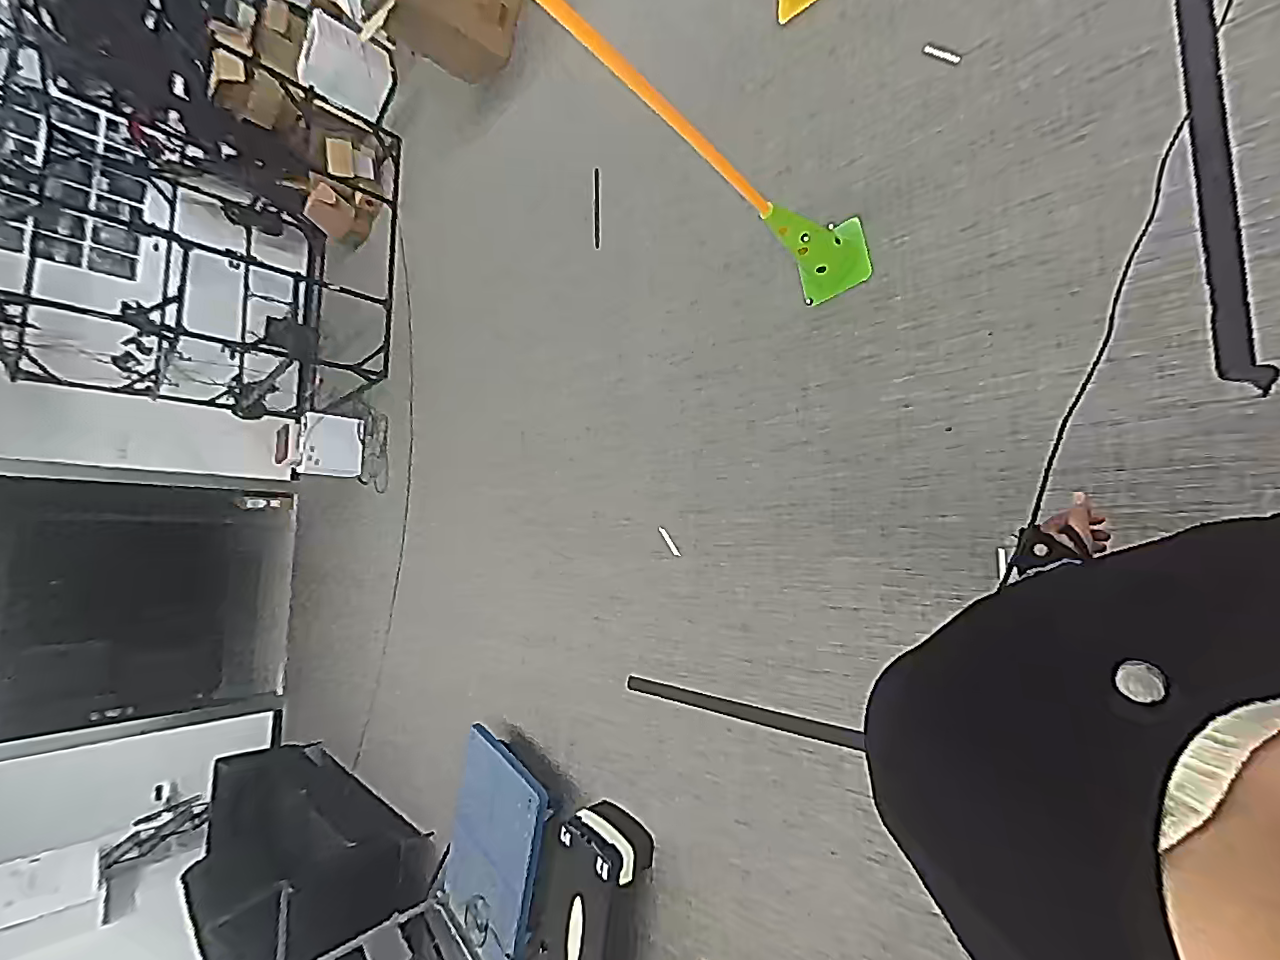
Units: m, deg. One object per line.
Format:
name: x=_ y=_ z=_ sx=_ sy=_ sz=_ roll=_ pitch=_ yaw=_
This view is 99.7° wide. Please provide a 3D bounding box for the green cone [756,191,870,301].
green cone: x=0.430 y=-0.658 z=1.434 sx=0.200 sy=0.368 sz=0.202 roll=-21 pitch=69 yaw=42
